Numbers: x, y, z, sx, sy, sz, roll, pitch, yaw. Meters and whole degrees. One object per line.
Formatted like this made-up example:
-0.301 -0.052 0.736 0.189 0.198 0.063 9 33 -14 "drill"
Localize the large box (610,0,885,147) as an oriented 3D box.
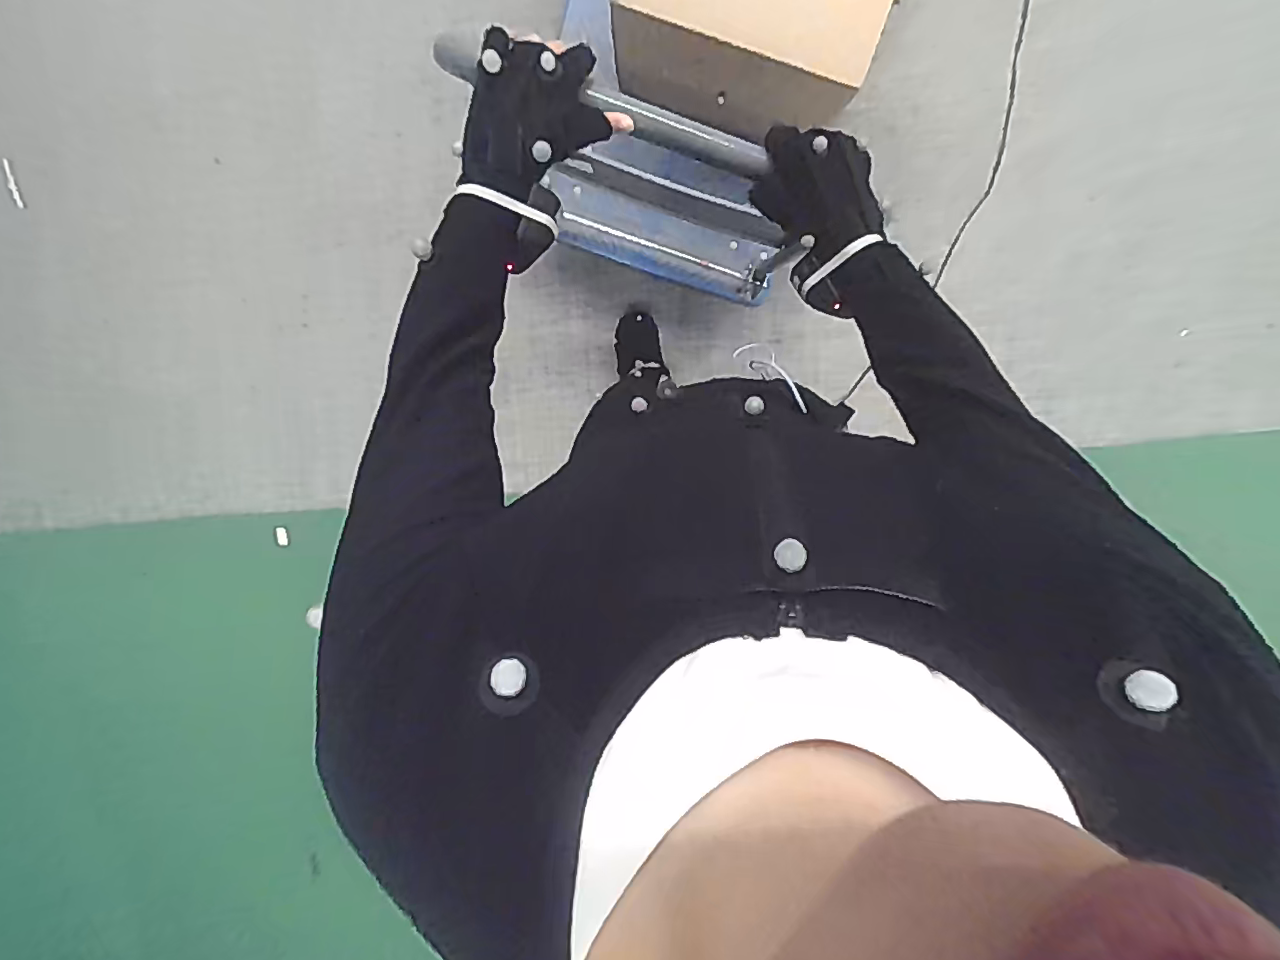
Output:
0.191 -0.841 0.937 0.408 0.320 0.320 16 104 -3 "large box"
